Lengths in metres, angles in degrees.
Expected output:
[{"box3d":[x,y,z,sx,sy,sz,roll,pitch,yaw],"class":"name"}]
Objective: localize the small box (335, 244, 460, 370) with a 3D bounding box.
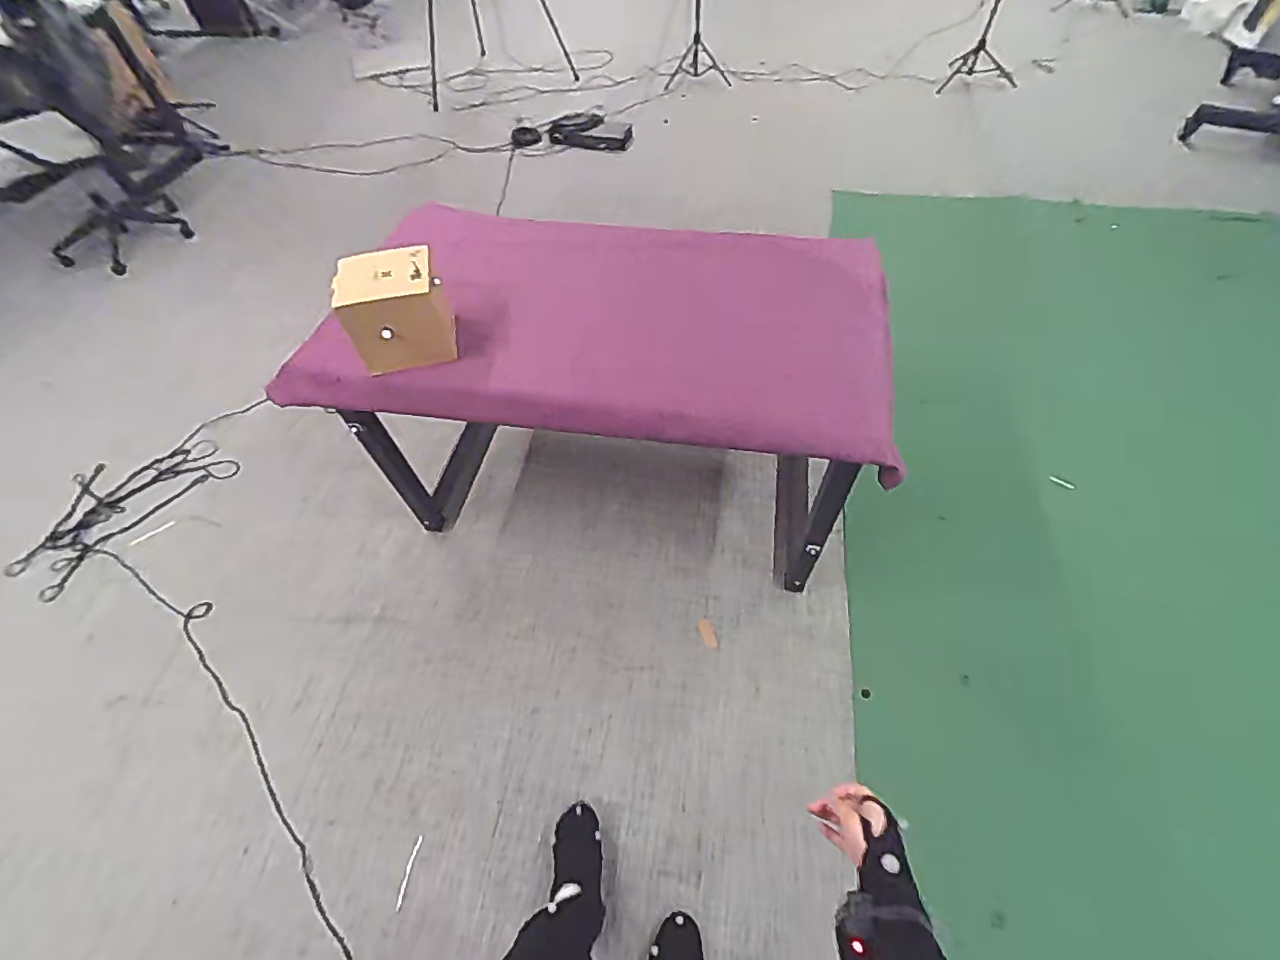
[{"box3d":[-0.479,-0.343,1.090,0.179,0.176,0.168,-12,55,-6],"class":"small box"}]
